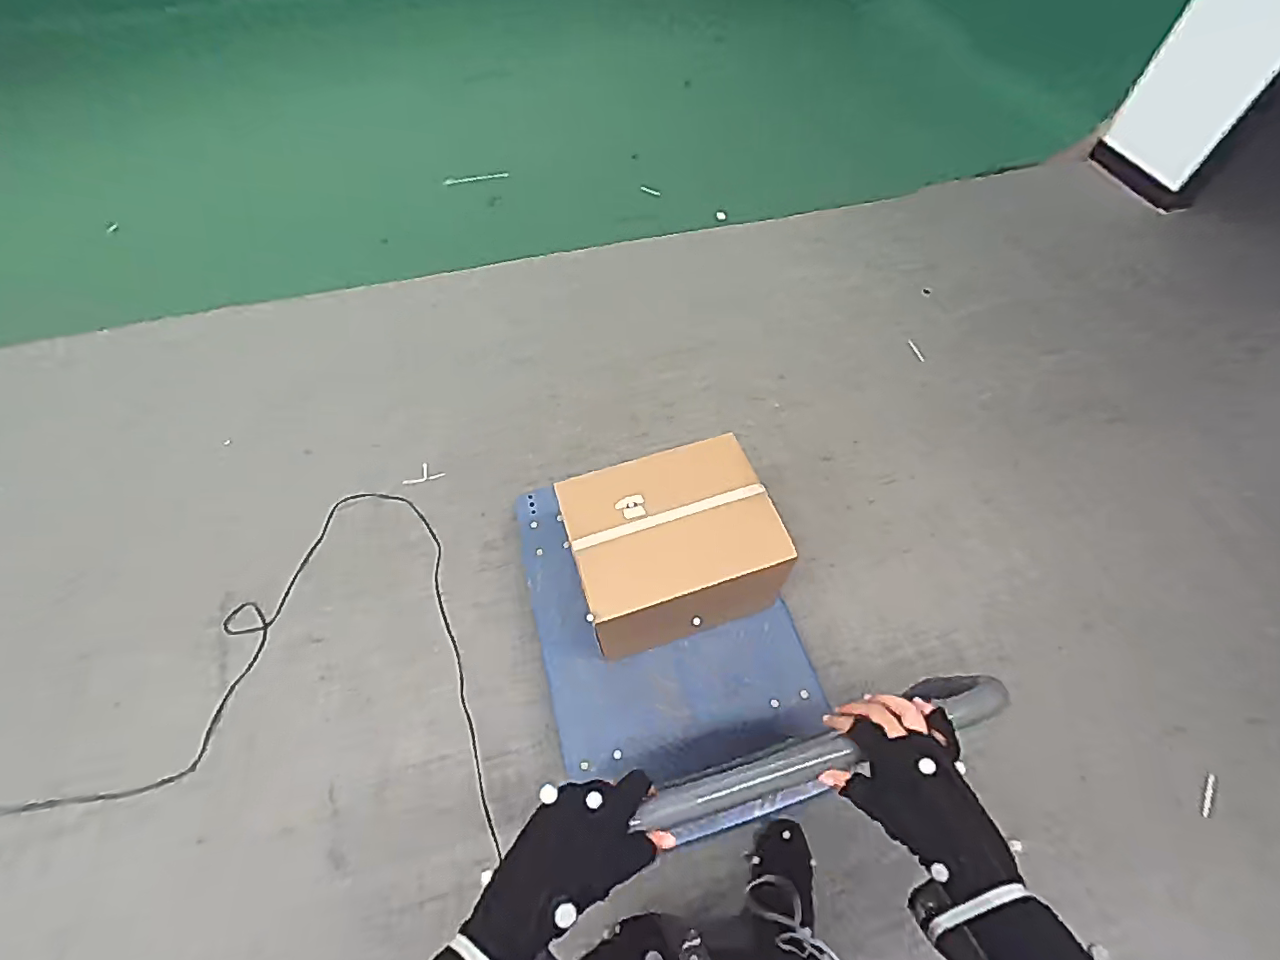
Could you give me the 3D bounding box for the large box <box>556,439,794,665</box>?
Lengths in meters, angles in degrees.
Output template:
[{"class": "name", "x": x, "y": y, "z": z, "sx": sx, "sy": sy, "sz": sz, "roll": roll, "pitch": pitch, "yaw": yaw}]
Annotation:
[{"class": "large box", "x": 0.067, "y": 0.167, "z": 1.199, "sx": 0.408, "sy": 0.320, "sz": 0.320, "roll": -17, "pitch": 58, "yaw": -7}]
